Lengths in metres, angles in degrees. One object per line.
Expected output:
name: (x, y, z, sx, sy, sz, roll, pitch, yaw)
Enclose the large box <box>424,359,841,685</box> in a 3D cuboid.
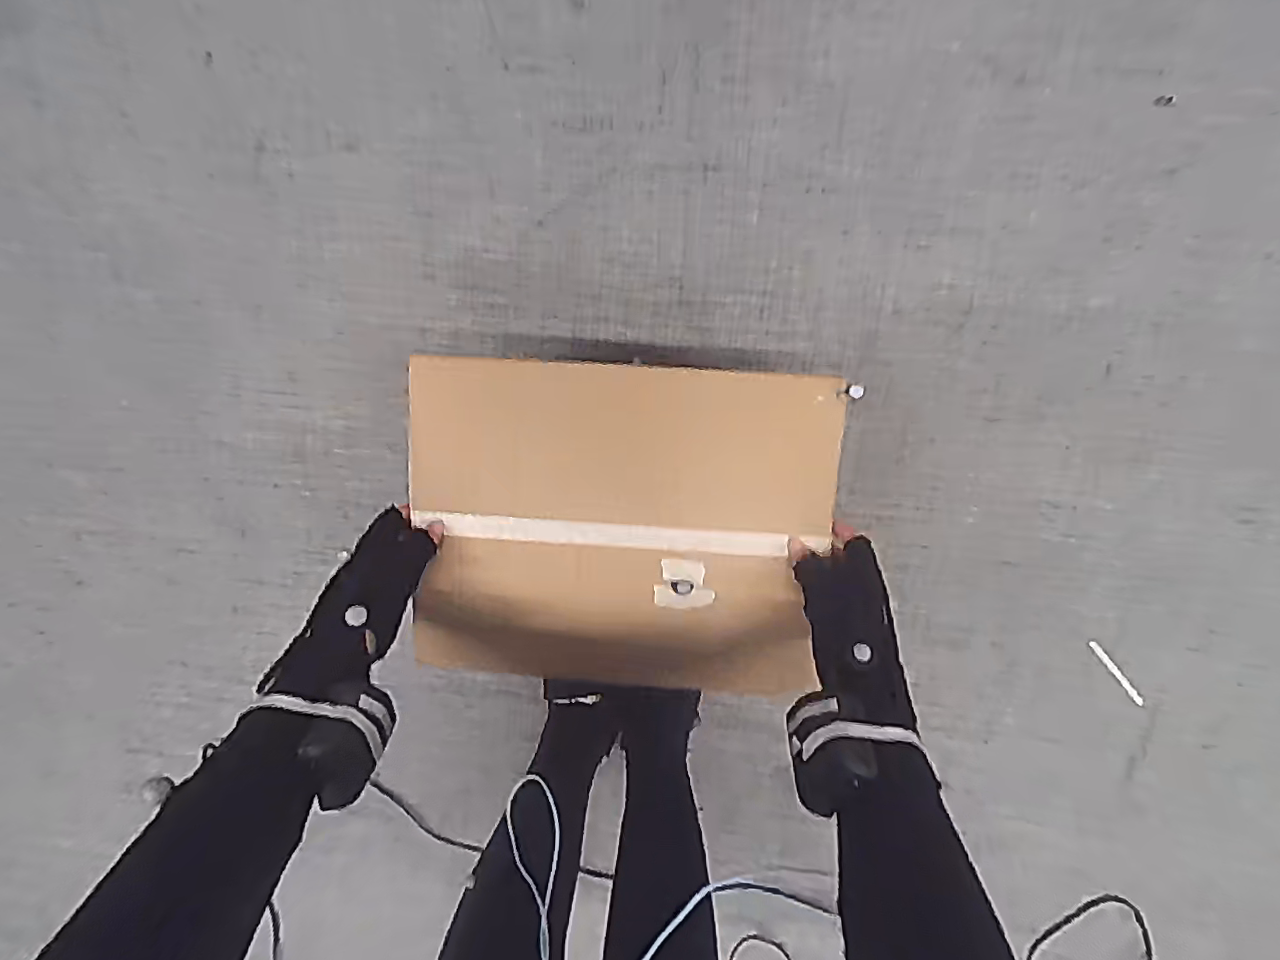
large box: (-0.011, 0.027, 0.677, 0.408, 0.320, 0.320, 4, 99, 3)
